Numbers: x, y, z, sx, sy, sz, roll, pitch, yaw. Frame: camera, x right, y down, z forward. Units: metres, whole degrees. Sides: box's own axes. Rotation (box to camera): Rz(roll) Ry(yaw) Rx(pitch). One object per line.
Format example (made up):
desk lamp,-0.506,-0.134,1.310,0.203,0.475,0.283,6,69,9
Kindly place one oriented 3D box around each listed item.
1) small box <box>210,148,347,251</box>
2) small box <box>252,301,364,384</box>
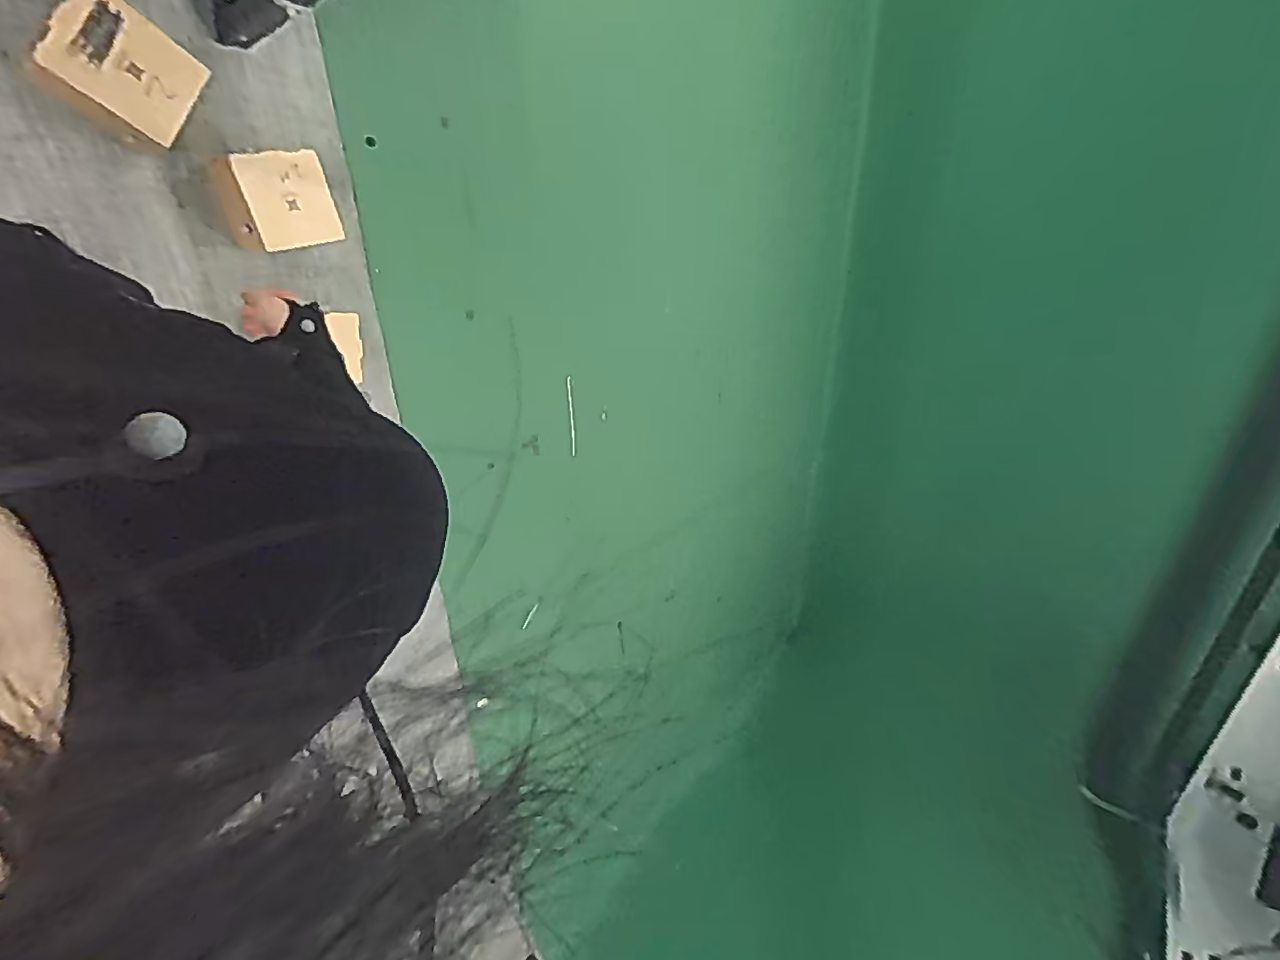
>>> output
small box,-0.766,-0.596,1.151,0.168,0.176,0.179,-34,130,-39
small box,-0.773,-0.323,1.265,0.179,0.176,0.168,-15,118,-48
